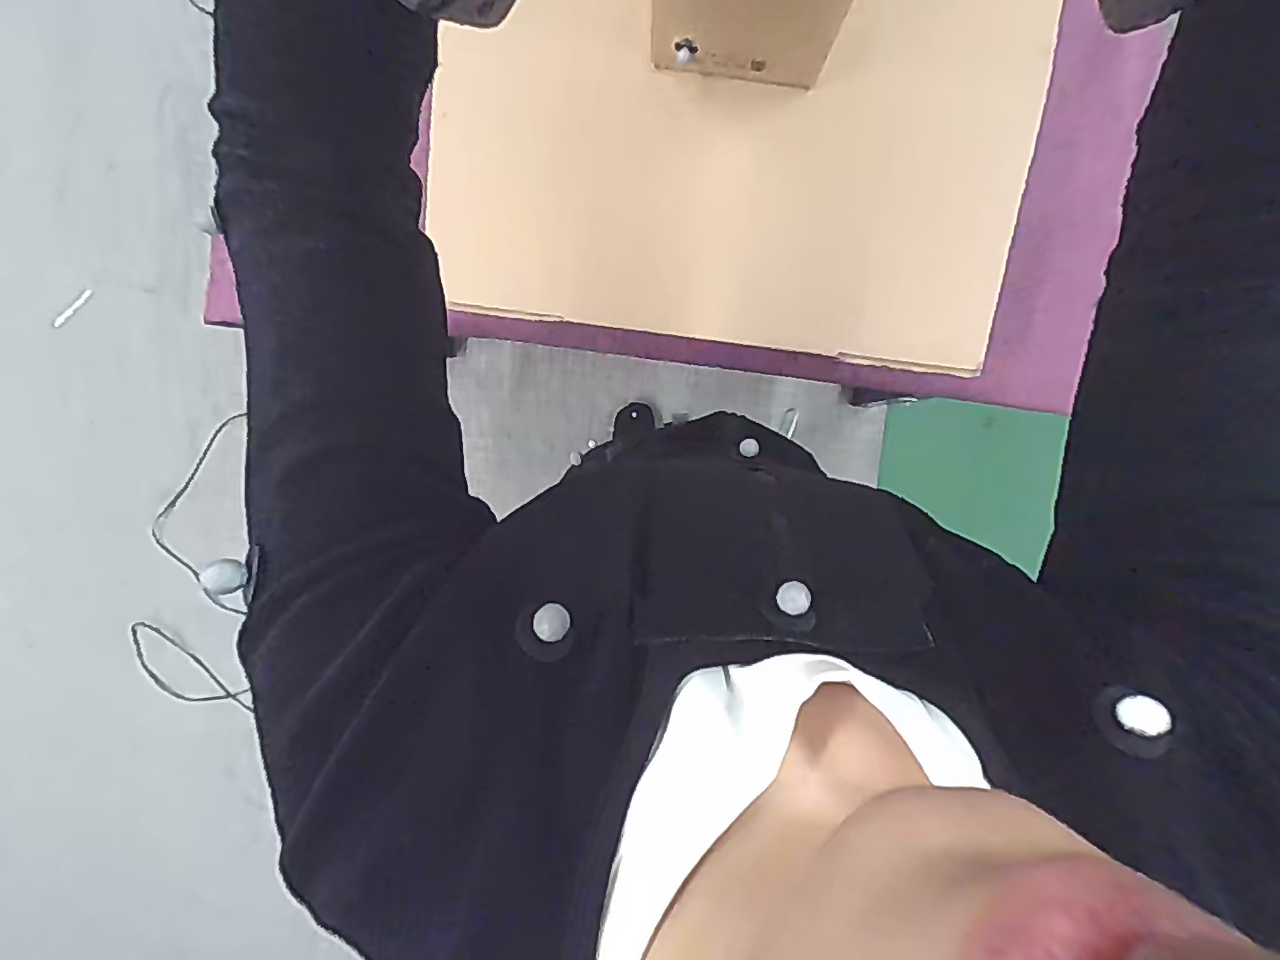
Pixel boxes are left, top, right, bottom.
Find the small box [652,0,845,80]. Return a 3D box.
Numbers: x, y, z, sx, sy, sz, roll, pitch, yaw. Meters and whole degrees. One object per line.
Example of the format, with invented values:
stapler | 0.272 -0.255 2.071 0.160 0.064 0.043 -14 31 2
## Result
small box | 0.102 -0.481 0.450 0.168 0.176 0.179 8 92 0
